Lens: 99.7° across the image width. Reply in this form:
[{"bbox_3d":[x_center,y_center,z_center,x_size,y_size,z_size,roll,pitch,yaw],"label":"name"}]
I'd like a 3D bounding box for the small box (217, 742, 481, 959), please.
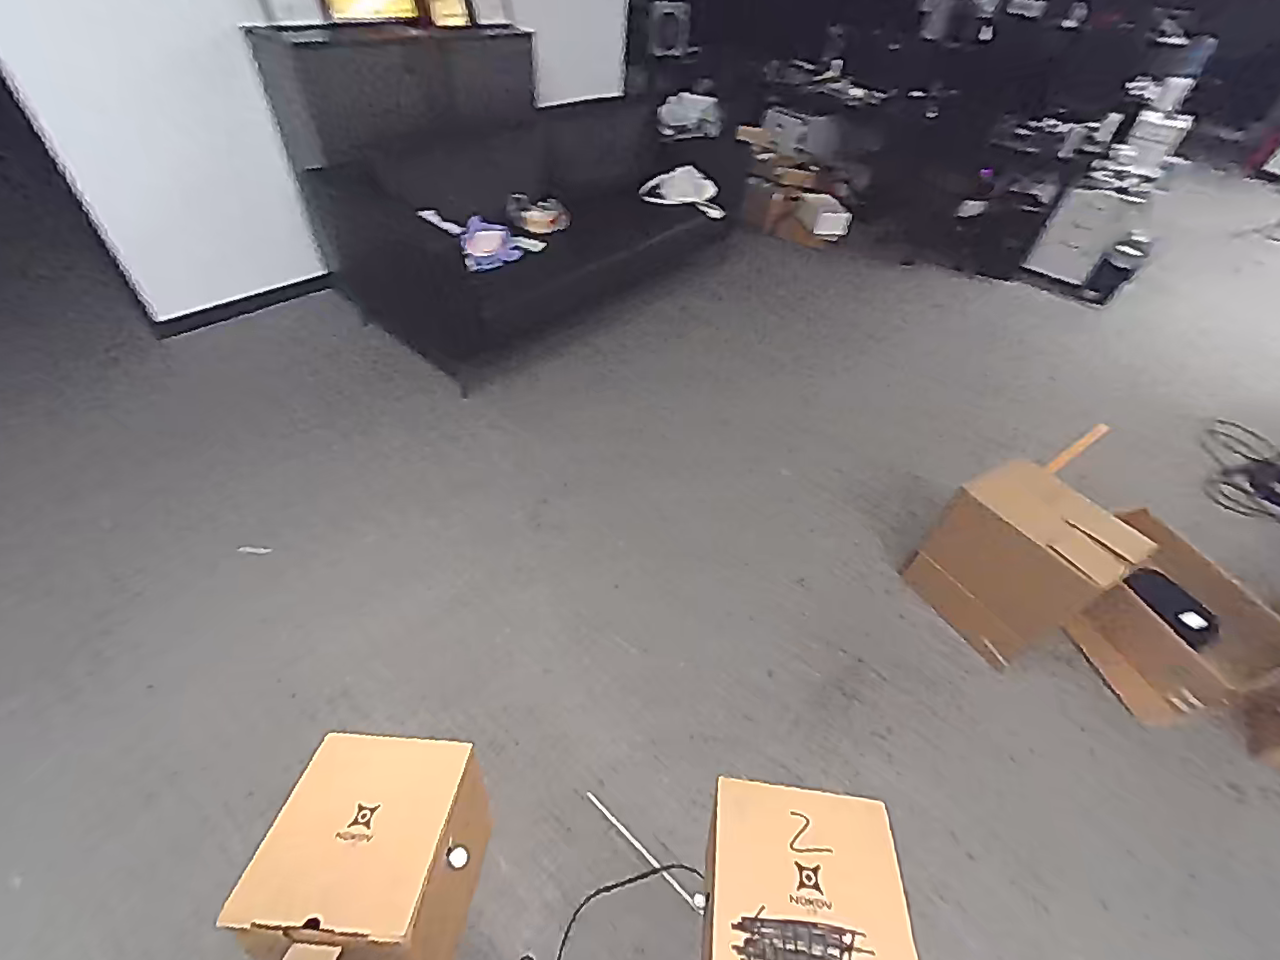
[{"bbox_3d":[-0.275,0.408,0.566,0.168,0.176,0.179,2,33,2],"label":"small box"}]
